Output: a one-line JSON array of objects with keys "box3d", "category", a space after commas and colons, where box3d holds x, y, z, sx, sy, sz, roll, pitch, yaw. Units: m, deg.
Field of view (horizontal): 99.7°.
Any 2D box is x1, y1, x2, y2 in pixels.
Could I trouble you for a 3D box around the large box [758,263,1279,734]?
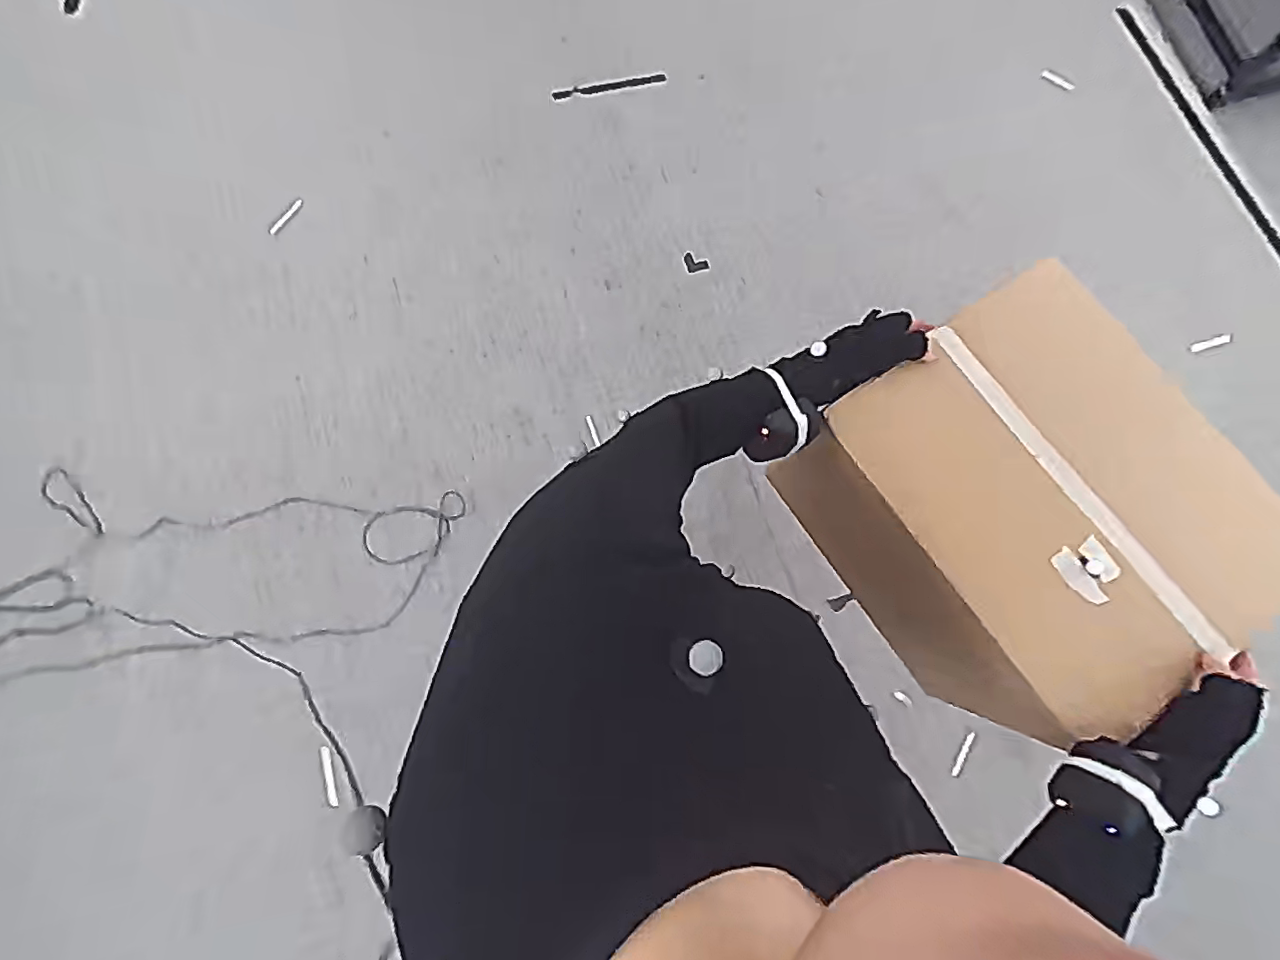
[{"box3d": [0.418, 0.025, 0.700, 0.320, 0.320, 0.408, -35, 82, -4], "category": "large box"}]
